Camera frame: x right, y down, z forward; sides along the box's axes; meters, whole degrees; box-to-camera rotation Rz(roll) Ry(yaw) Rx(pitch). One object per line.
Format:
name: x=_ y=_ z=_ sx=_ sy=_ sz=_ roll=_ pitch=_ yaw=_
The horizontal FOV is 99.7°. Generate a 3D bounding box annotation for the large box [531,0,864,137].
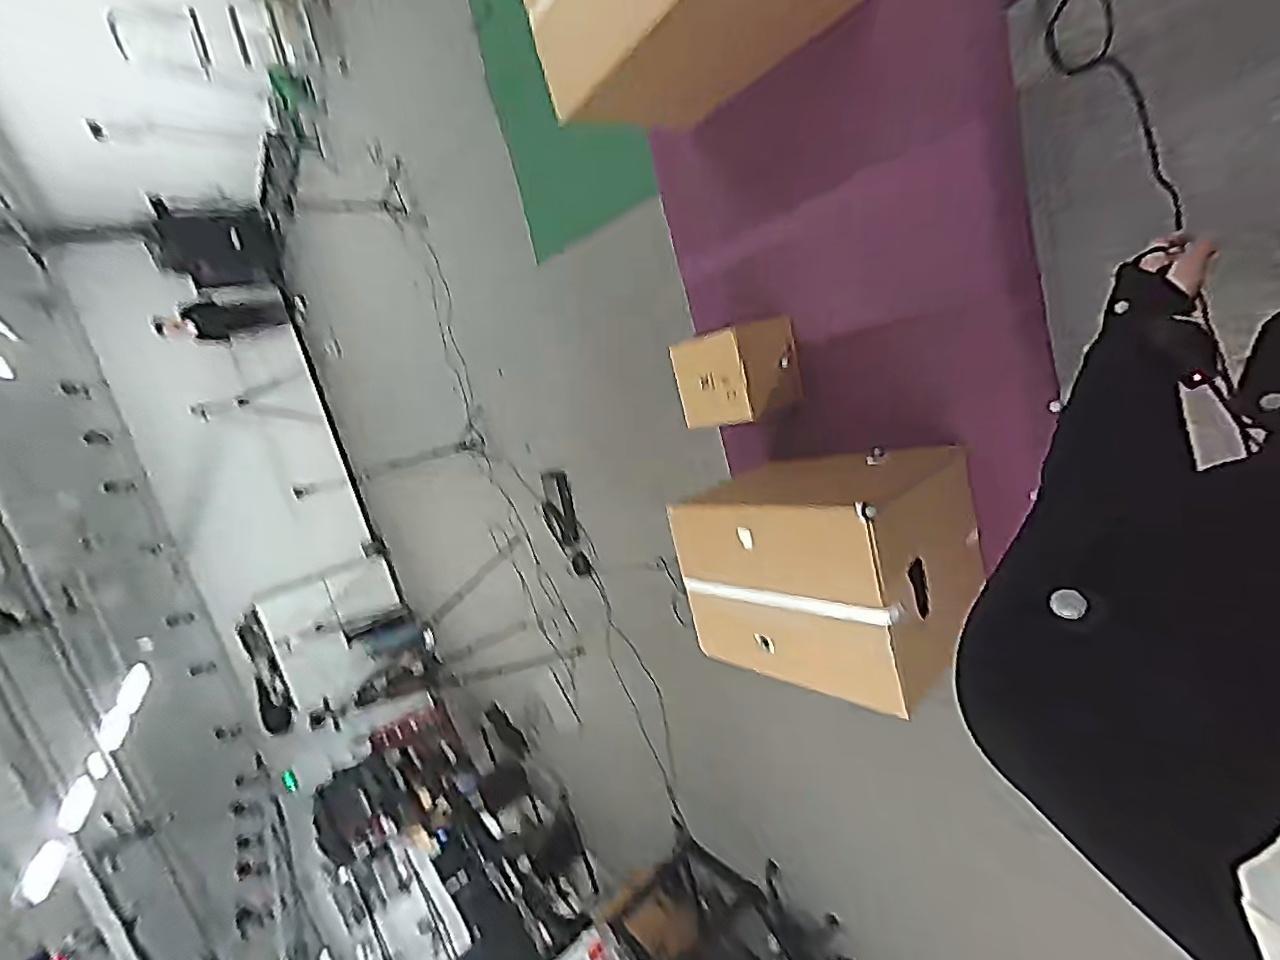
large box: x=0.067 y=-0.786 z=0.813 sx=0.408 sy=0.320 sz=0.320 roll=-1 pitch=108 yaw=52
